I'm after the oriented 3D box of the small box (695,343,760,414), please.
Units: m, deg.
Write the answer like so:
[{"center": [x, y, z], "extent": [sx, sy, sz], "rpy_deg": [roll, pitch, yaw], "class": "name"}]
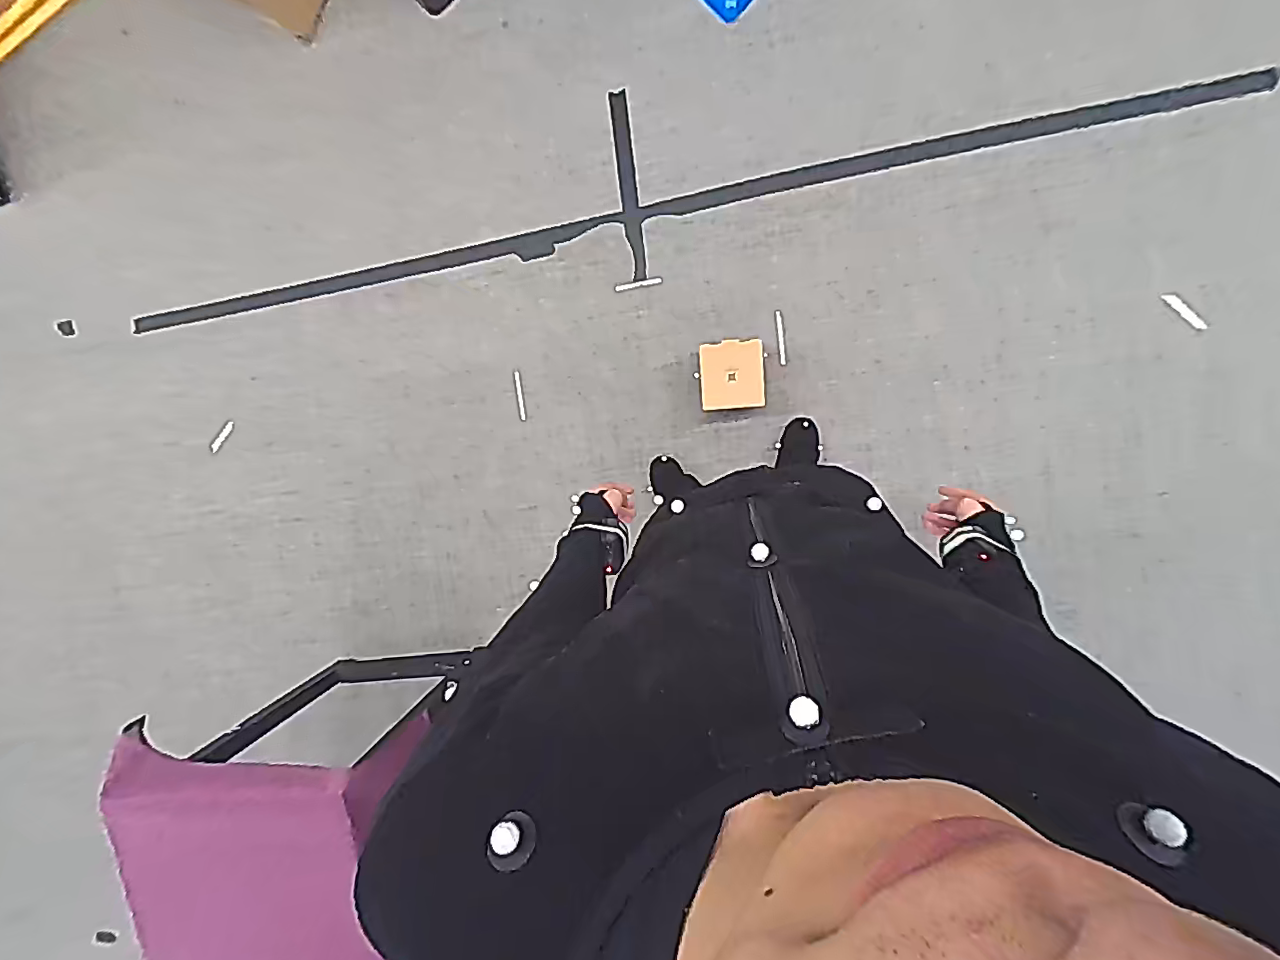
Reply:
[{"center": [0.244, -0.279, 1.507], "extent": [0.168, 0.176, 0.179], "rpy_deg": [-4, 96, 9], "class": "small box"}]
